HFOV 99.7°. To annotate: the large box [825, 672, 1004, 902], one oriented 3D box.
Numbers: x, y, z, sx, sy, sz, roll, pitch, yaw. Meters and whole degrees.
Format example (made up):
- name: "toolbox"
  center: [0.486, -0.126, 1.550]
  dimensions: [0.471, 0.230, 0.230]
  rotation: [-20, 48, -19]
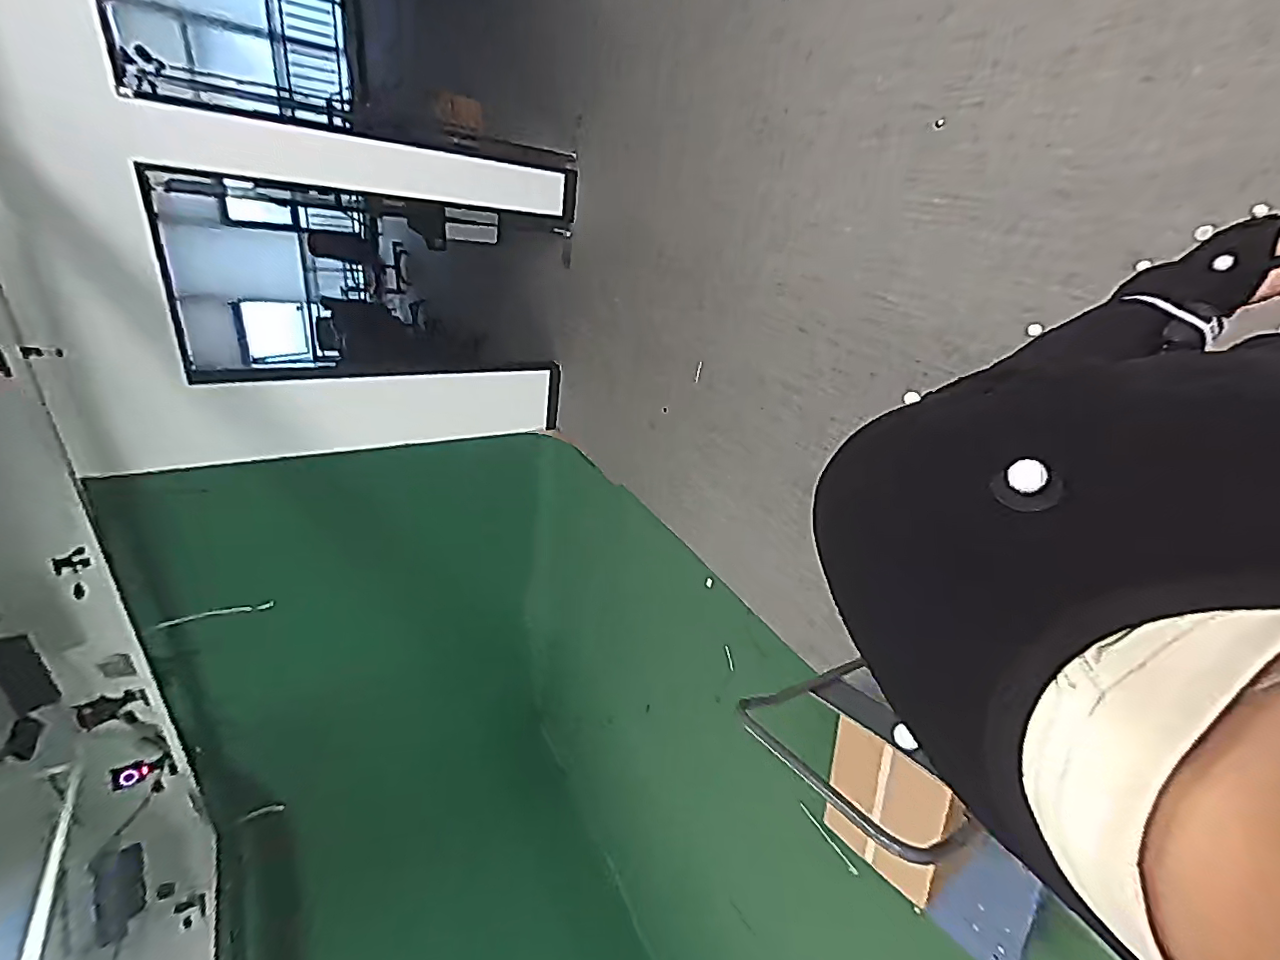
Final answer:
- name: "large box"
  center: [0.766, 0.836, 1.530]
  dimensions: [0.320, 0.320, 0.408]
  rotation: [24, 119, 52]
